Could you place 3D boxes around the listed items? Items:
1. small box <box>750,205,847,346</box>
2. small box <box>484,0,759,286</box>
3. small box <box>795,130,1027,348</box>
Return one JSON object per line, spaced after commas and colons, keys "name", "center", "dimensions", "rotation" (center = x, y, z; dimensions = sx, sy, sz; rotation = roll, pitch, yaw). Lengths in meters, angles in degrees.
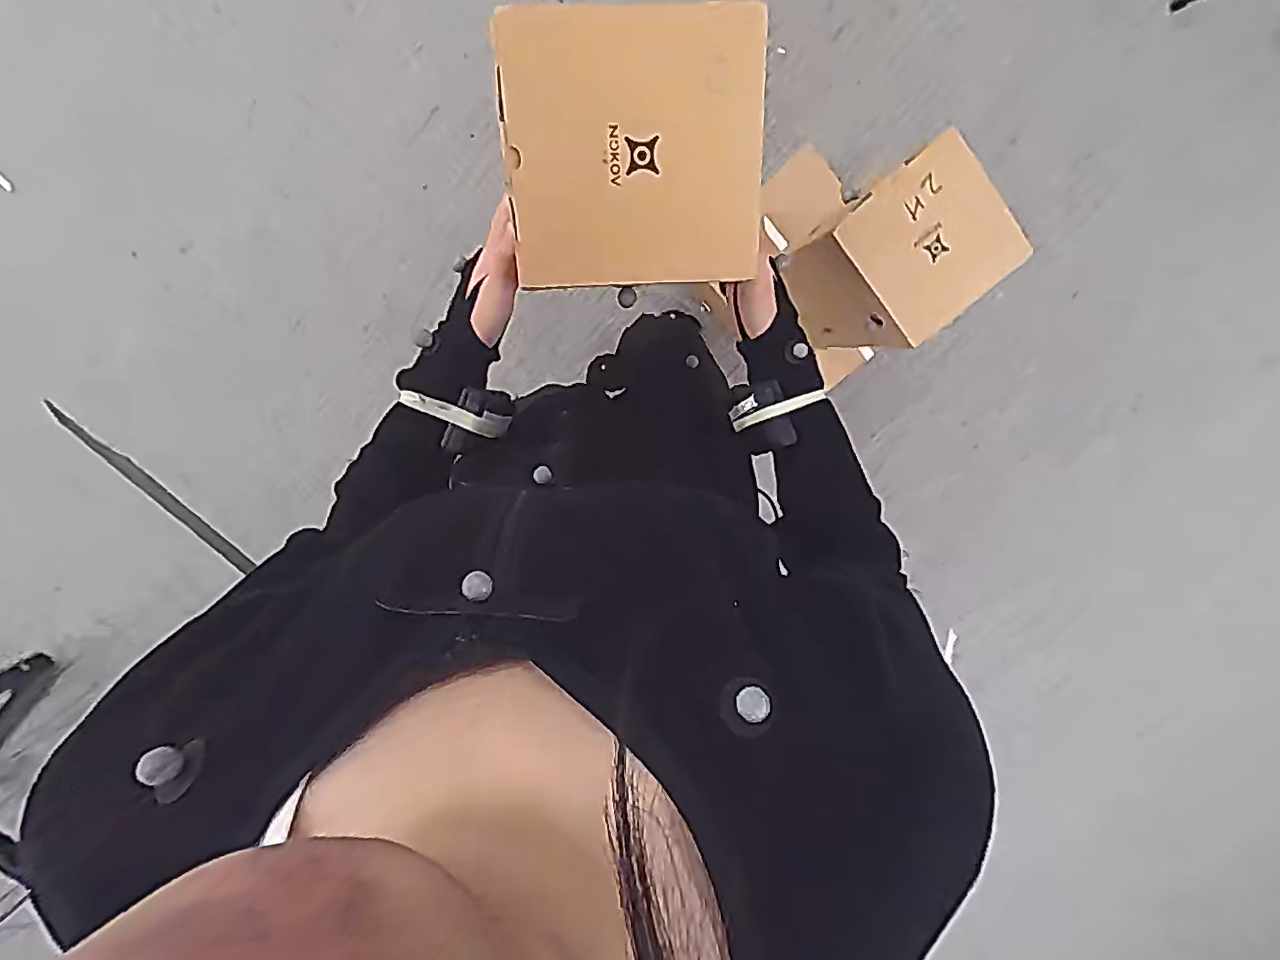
{"name": "small box", "center": [0.331, -0.371, 1.014], "dimensions": [0.168, 0.176, 0.179], "rotation": [-43, 102, 11]}
{"name": "small box", "center": [-0.012, -0.253, 0.440], "dimensions": [0.179, 0.176, 0.168], "rotation": [-4, 112, -1]}
{"name": "small box", "center": [0.330, -0.292, 0.695], "dimensions": [0.168, 0.176, 0.179], "rotation": [-39, 101, 9]}
